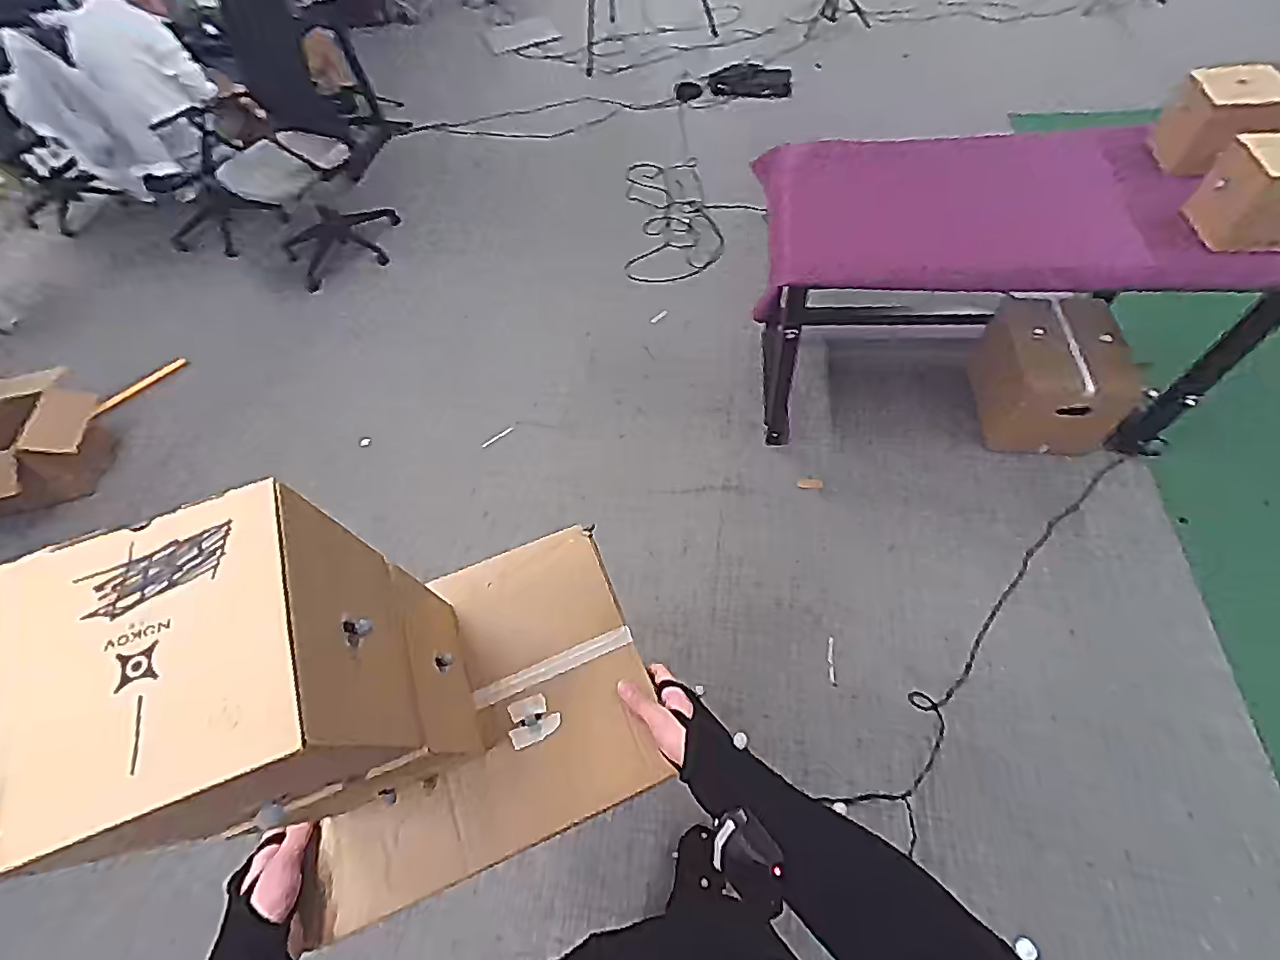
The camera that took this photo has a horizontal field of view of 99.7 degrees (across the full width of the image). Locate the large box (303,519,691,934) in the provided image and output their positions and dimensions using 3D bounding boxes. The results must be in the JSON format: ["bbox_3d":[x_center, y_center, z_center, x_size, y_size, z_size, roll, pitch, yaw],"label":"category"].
[{"bbox_3d":[-0.182,0.312,0.746,0.408,0.320,0.320,-20,66,-10],"label":"large box"}]

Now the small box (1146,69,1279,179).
[{"bbox_3d":[1.411,-0.873,1.332,0.168,0.176,0.179,3,58,13],"label":"small box"}]

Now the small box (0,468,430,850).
[{"bbox_3d":[-0.271,0.123,0.385,0.168,0.176,0.179,-19,65,-8],"label":"small box"}]

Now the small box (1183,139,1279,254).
[{"bbox_3d":[1.346,-0.612,1.168,0.168,0.176,0.179,4,55,12],"label":"small box"}]
